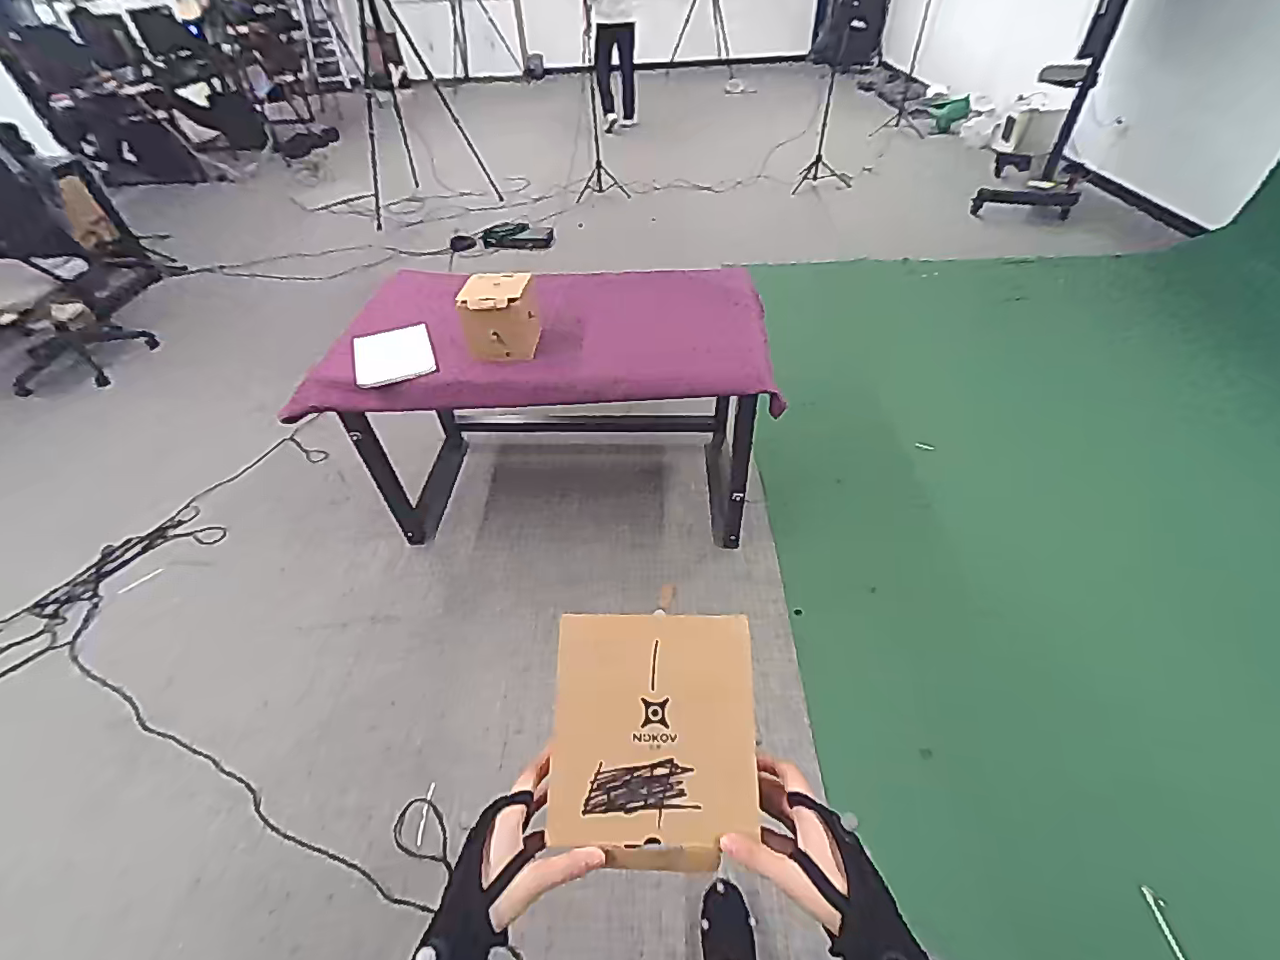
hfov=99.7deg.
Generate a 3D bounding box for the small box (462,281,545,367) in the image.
[{"bbox_3d":[-0.360,-0.422,1.467,0.168,0.176,0.179,1,45,3],"label":"small box"}]

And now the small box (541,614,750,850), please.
[{"bbox_3d":[0.008,0.229,0.519,0.168,0.176,0.179,0,68,1],"label":"small box"}]
